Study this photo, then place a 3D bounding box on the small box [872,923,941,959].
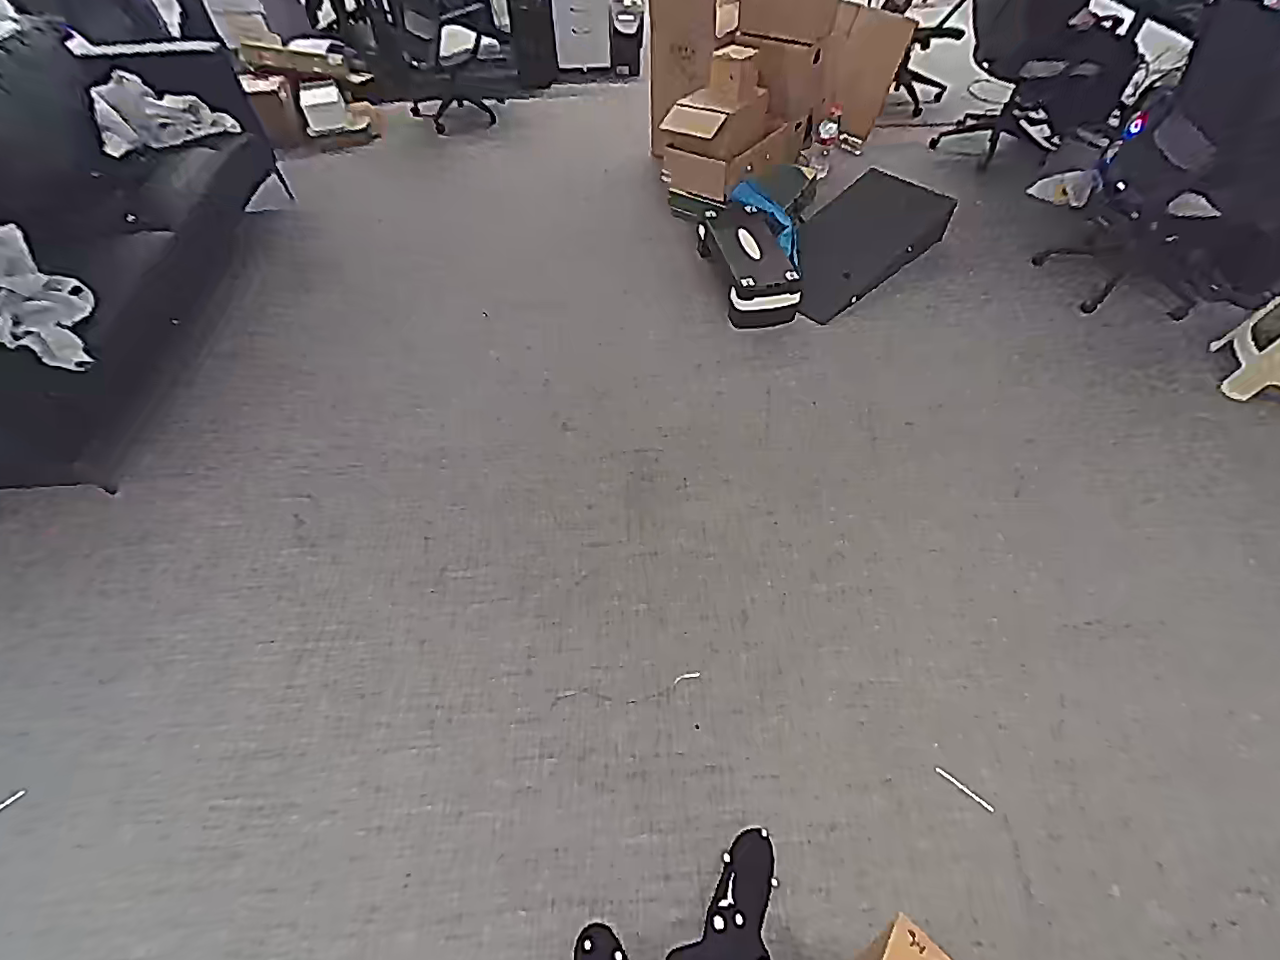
[{"bbox_3d":[0.331,0.711,0.647,0.168,0.176,0.179,33,20,32],"label":"small box"}]
